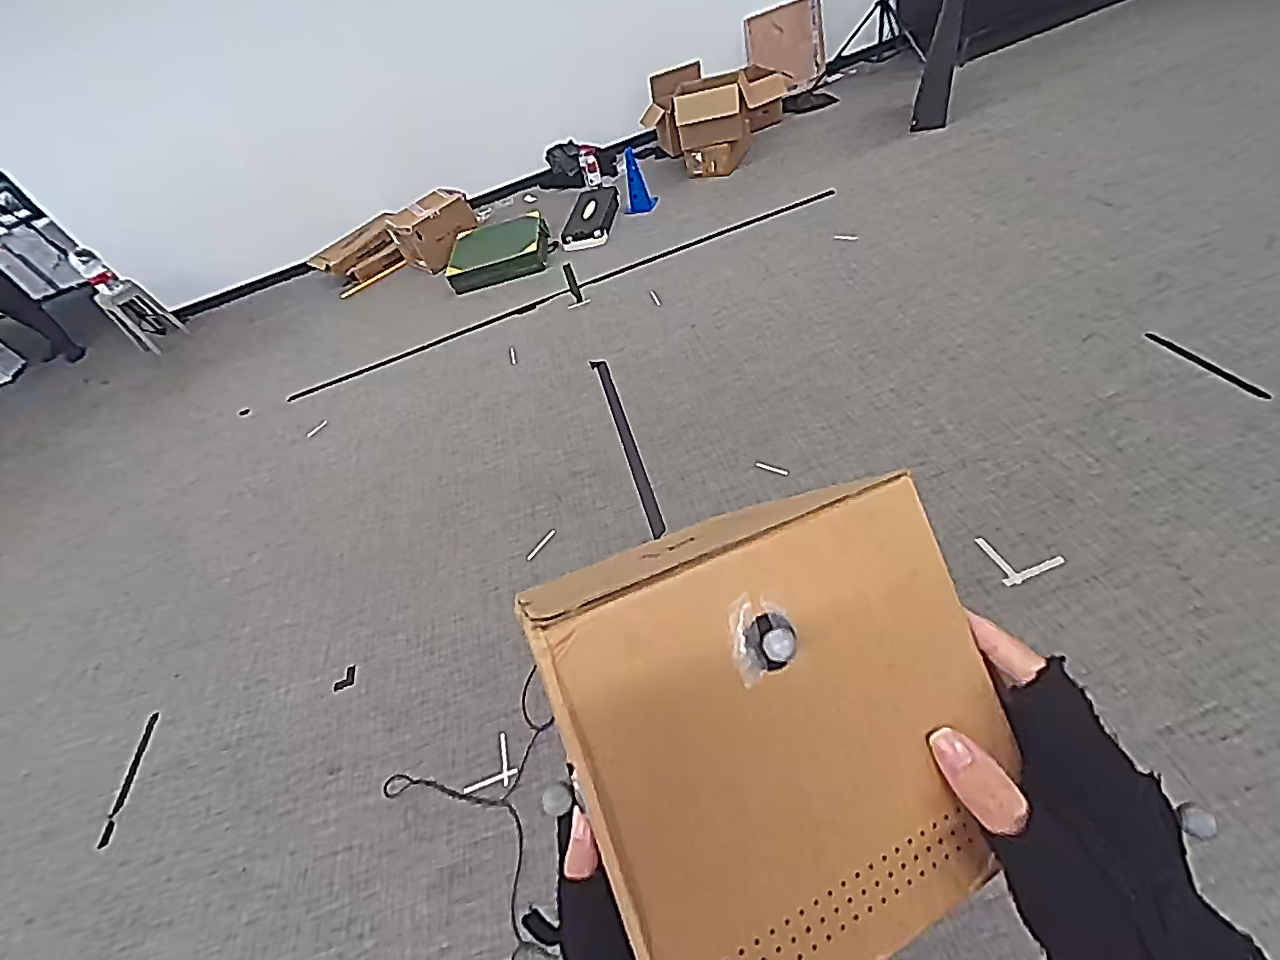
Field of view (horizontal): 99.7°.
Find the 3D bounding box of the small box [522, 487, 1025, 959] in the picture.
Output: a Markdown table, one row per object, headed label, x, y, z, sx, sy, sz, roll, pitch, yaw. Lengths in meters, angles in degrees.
| label | x | y | z | sx | sy | sz | roll | pitch | yaw |
| --- | --- | --- | --- | --- | --- | --- | --- | --- | --- |
| small box | 0.050 | 0.120 | 0.284 | 0.179 | 0.168 | 0.176 | -19 | 87 | -16 |
